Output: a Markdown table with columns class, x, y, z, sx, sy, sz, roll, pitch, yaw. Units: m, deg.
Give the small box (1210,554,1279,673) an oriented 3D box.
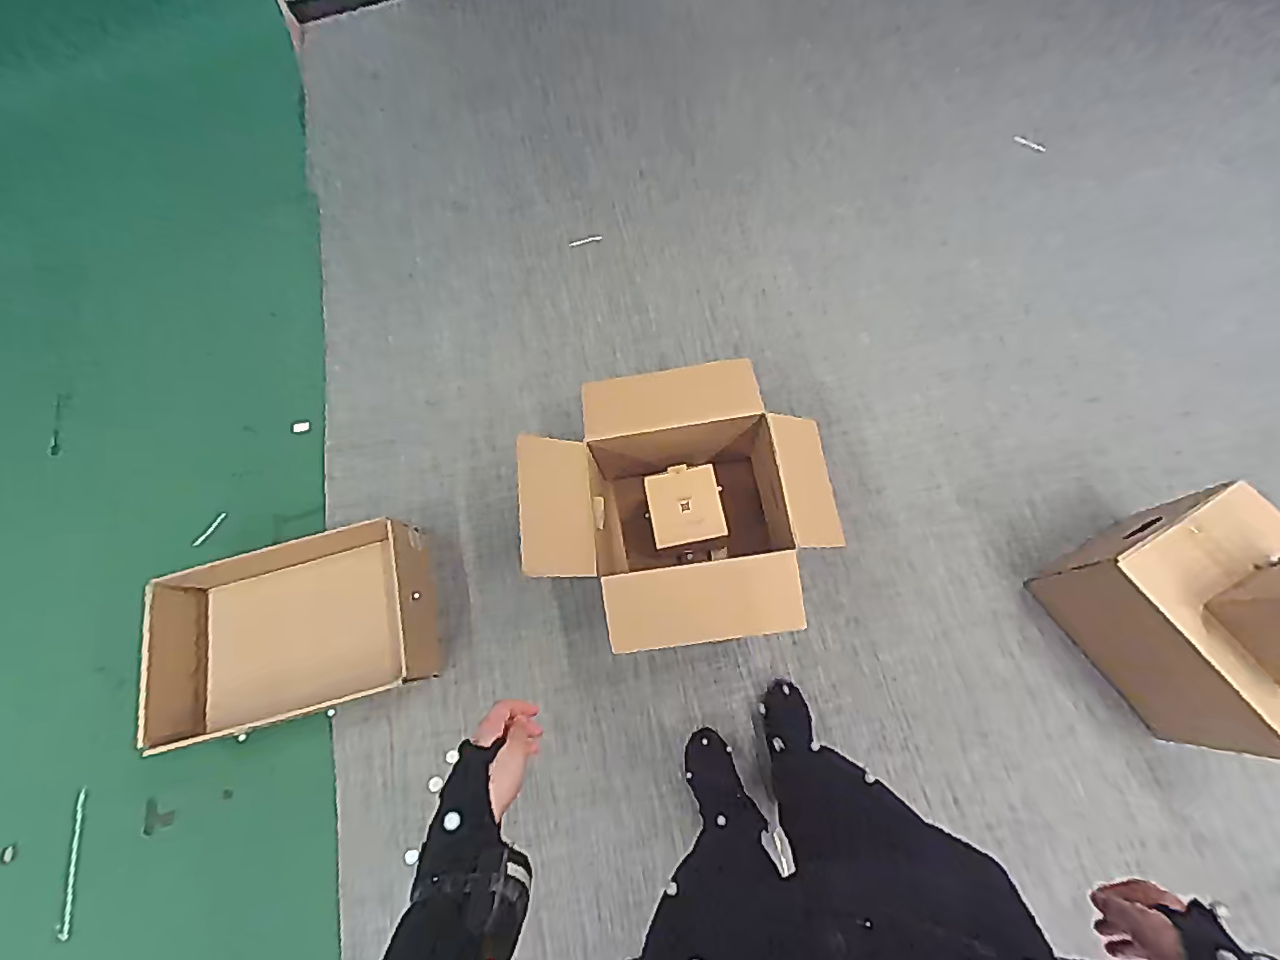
| class | x | y | z | sx | sy | sz | roll | pitch | yaw |
| --- | --- | --- | --- | --- | --- | --- | --- | --- | --- |
| small box | 1.112 | 0.212 | 0.871 | 0.168 | 0.176 | 0.179 | -31 | 71 | -3 |
